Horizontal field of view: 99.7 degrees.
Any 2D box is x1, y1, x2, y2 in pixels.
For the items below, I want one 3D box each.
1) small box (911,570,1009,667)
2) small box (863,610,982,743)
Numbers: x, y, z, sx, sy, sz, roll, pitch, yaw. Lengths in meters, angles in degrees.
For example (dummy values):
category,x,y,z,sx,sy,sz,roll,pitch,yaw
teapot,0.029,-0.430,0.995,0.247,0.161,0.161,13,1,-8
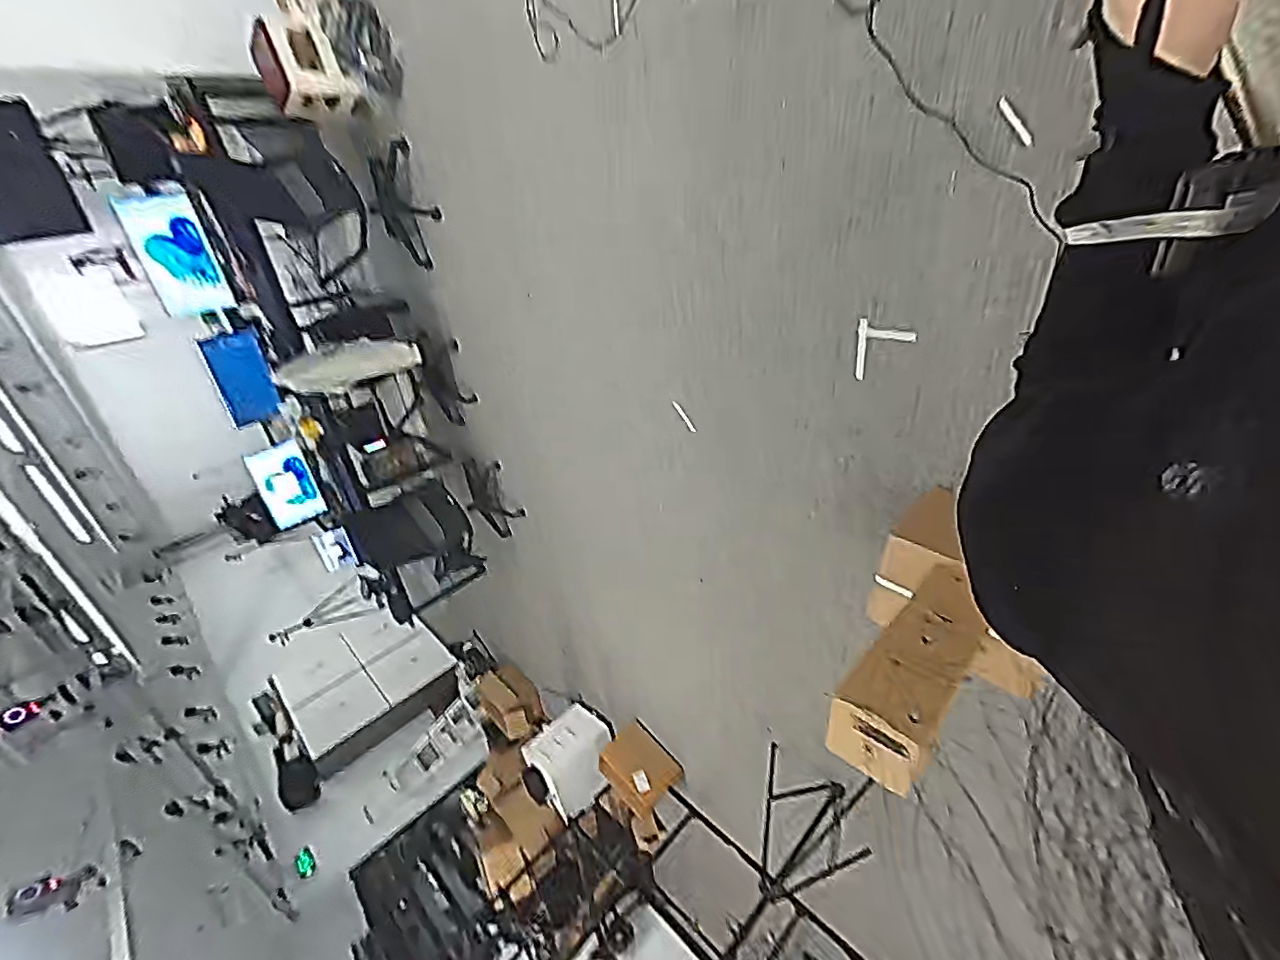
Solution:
category,x,y,z,sx,sy,sz,roll,pitch,yaw
small box,0.733,0.344,1.270,0.168,0.176,0.179,29,135,36
small box,0.617,0.419,1.181,0.168,0.176,0.179,27,132,39
